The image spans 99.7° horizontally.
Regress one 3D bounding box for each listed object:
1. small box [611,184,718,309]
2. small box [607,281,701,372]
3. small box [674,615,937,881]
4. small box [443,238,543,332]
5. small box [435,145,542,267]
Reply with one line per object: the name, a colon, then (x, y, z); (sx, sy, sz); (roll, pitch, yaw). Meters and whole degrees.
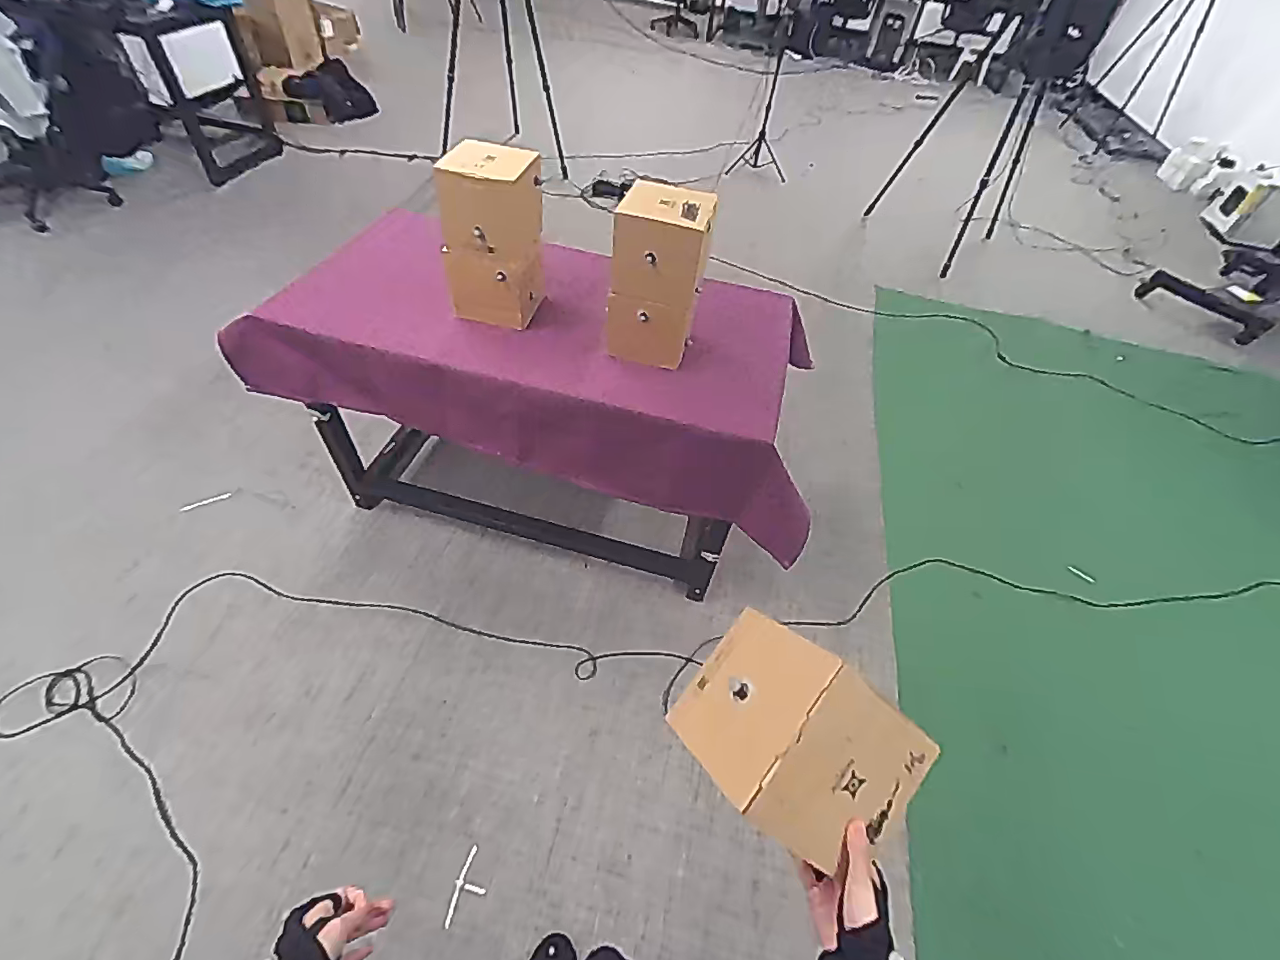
small box: (0.047, -0.475, 1.111); (0.179, 0.176, 0.168); (14, 50, 7)
small box: (0.028, -0.371, 1.236); (0.179, 0.176, 0.168); (15, 50, 5)
small box: (0.167, 0.269, 0.587); (0.179, 0.176, 0.168); (42, 80, -19)
small box: (-0.339, -0.474, 1.282); (0.179, 0.176, 0.168); (12, 49, 2)
small box: (-0.316, -0.588, 1.164); (0.168, 0.176, 0.179); (12, 49, 3)
